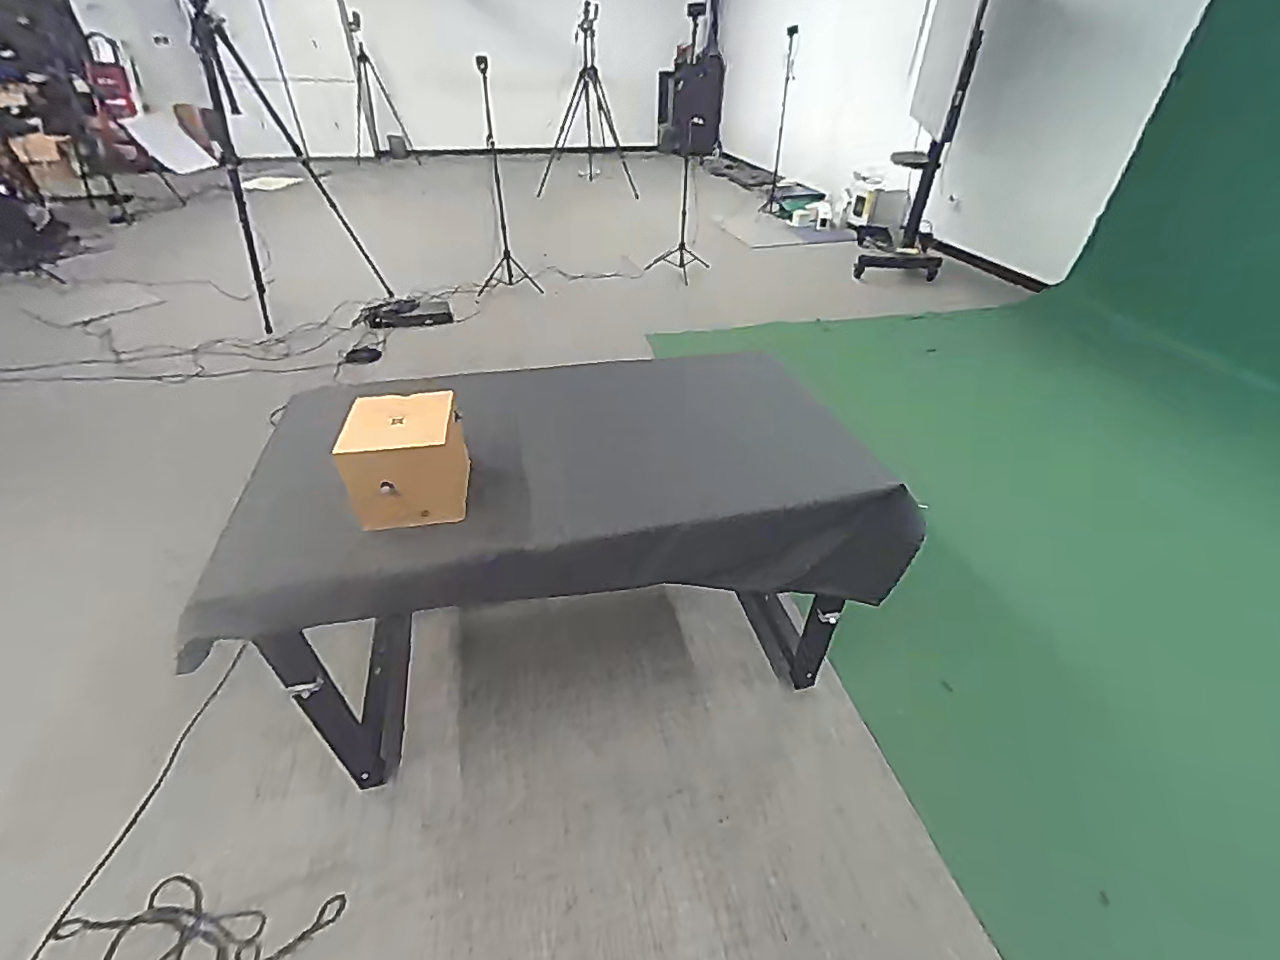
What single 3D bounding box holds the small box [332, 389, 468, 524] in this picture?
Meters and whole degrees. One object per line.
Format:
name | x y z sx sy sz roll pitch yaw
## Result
small box | -0.399 -0.038 0.935 0.168 0.176 0.179 -6 38 -9
